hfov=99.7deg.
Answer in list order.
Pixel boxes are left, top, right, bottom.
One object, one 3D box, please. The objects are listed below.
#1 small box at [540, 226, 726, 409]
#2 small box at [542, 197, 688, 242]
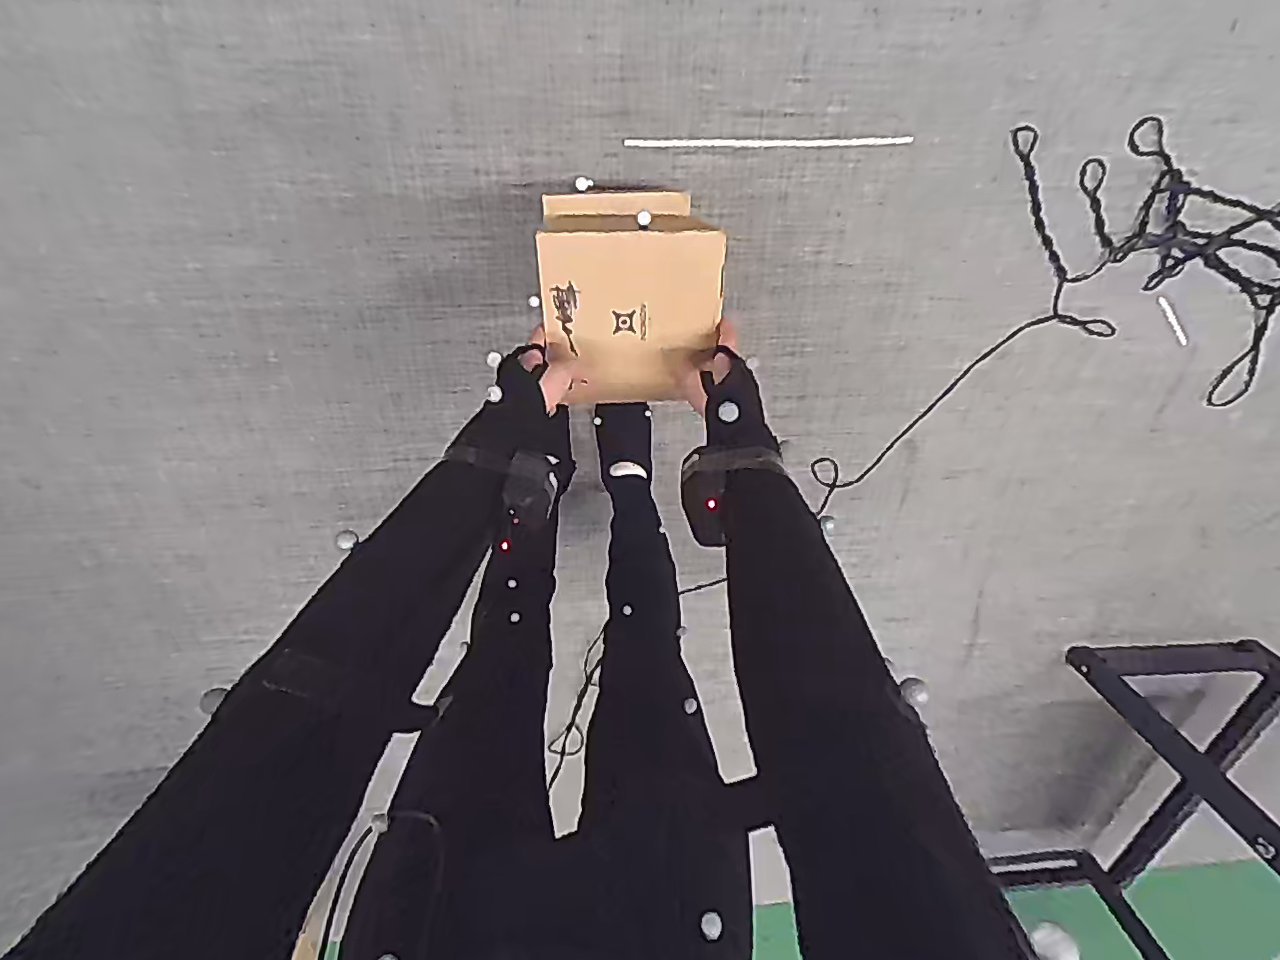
[{"bbox_3d":[-0.014,-0.188,0.603,0.179,0.176,0.168,-2,118,-4],"label":"small box"},{"bbox_3d":[-0.032,-0.295,0.744,0.179,0.176,0.168,-3,118,-3],"label":"small box"}]
